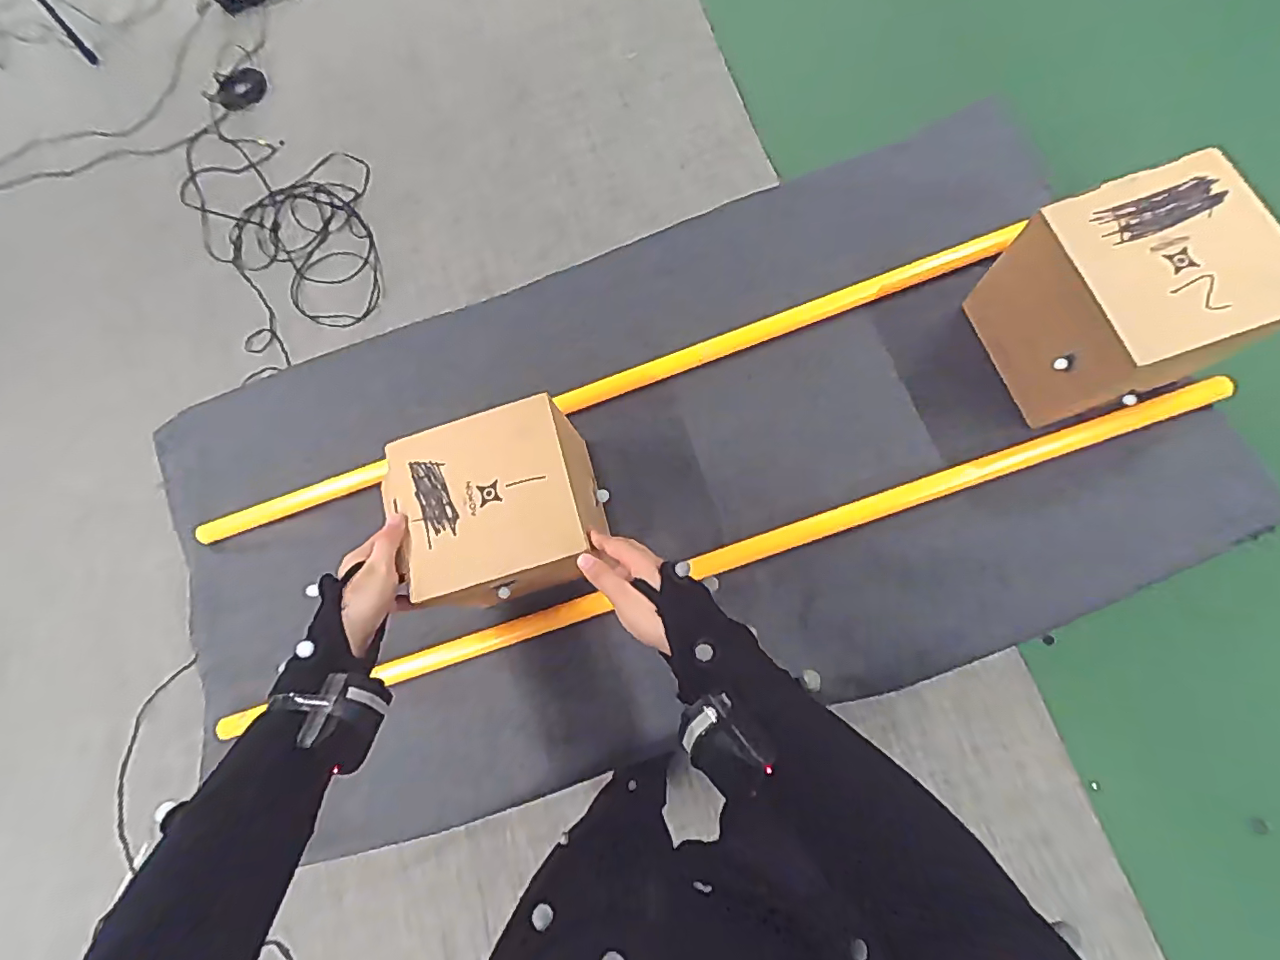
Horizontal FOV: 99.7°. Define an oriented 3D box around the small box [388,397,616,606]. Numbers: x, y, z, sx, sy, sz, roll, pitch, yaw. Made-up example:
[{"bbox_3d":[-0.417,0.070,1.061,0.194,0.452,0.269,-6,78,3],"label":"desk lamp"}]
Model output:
[{"bbox_3d":[-0.139,0.037,0.591,0.179,0.176,0.168,-17,75,3],"label":"small box"}]
